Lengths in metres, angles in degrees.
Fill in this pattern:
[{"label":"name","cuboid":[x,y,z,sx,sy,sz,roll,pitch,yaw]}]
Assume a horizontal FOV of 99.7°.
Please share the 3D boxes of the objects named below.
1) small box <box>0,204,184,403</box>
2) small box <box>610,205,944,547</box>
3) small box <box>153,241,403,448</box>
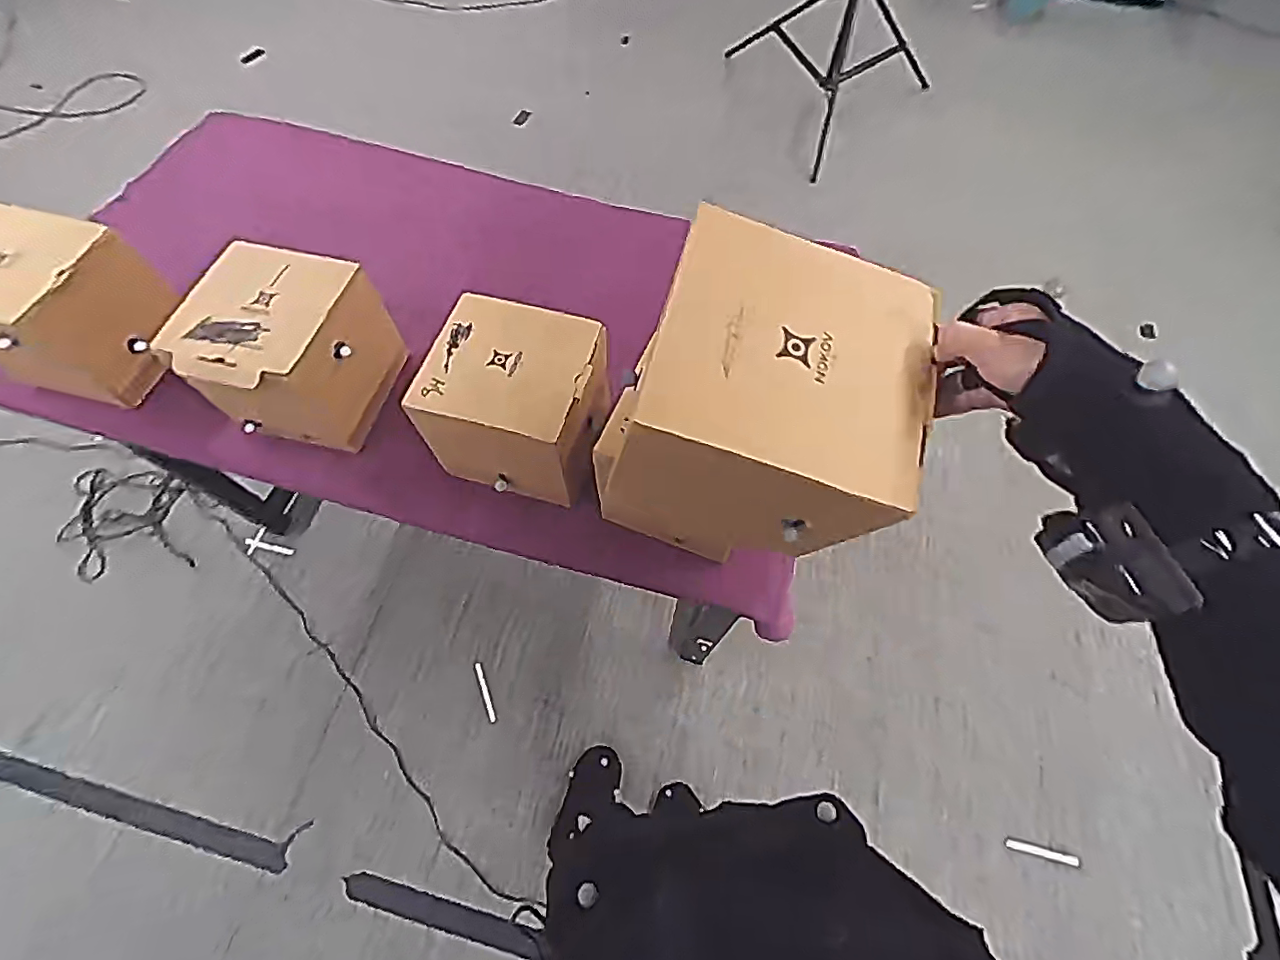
[{"label":"small box","cuboid":[-0.749,-0.221,0.703,0.179,0.176,0.168,12,64,4]},{"label":"small box","cuboid":[0.087,-0.056,0.405,0.179,0.176,0.168,17,71,-3]},{"label":"small box","cuboid":[-0.429,-0.162,0.682,0.168,0.176,0.179,12,64,4]}]
